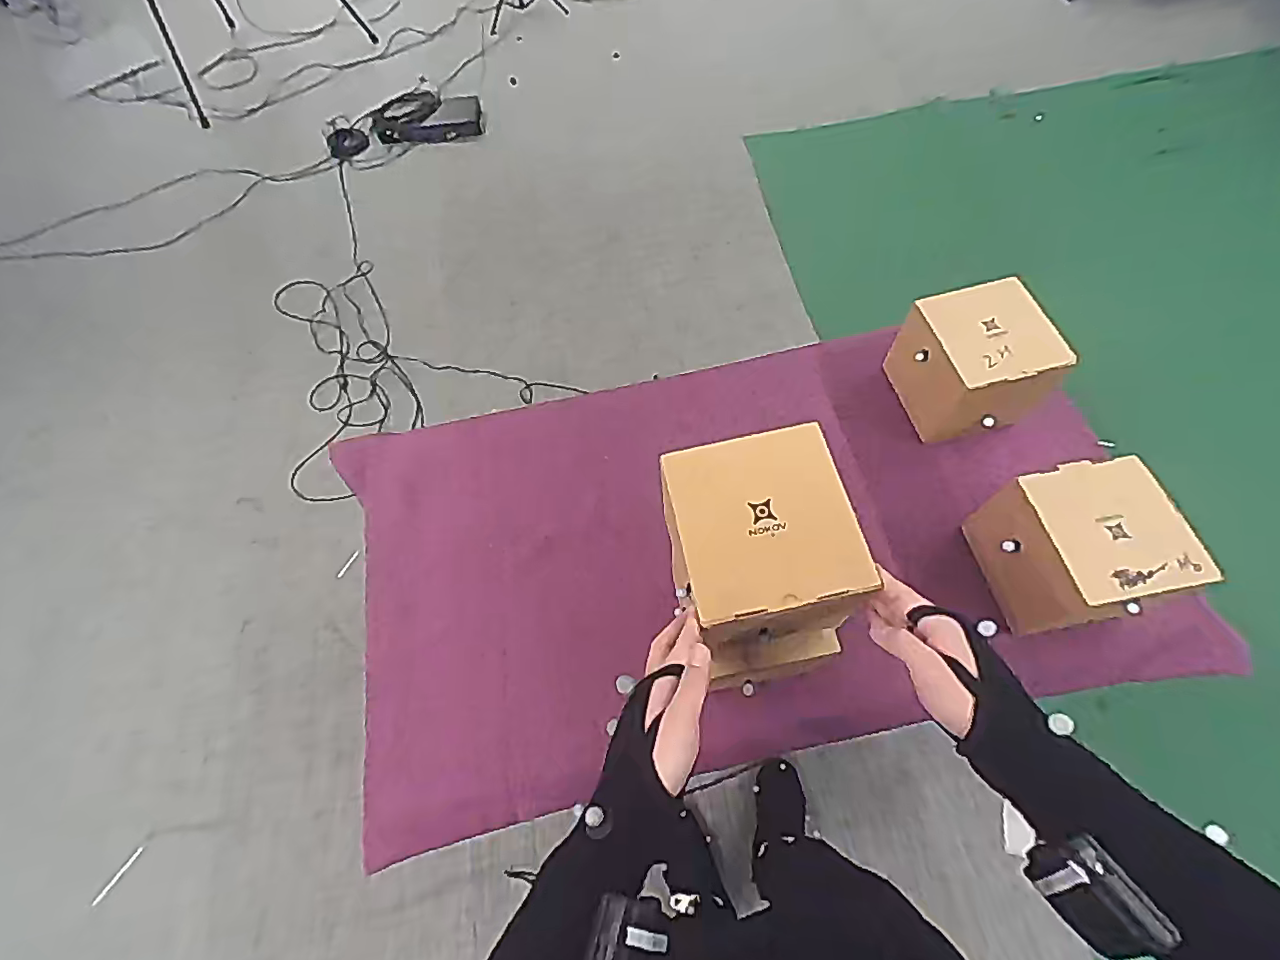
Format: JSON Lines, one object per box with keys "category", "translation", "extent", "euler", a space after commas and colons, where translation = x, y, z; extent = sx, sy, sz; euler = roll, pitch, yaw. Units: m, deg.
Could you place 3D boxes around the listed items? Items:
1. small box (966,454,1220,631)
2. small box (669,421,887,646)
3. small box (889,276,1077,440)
{"category": "small box", "translation": [0.589, 0.091, 0.738], "extent": [0.168, 0.176, 0.179], "euler": [-10, 62, 0]}
{"category": "small box", "translation": [0.127, 0.065, 0.580], "extent": [0.168, 0.176, 0.179], "euler": [-12, 65, -1]}
{"category": "small box", "translation": [0.534, -0.192, 0.876], "extent": [0.168, 0.176, 0.179], "euler": [-13, 65, 0]}
